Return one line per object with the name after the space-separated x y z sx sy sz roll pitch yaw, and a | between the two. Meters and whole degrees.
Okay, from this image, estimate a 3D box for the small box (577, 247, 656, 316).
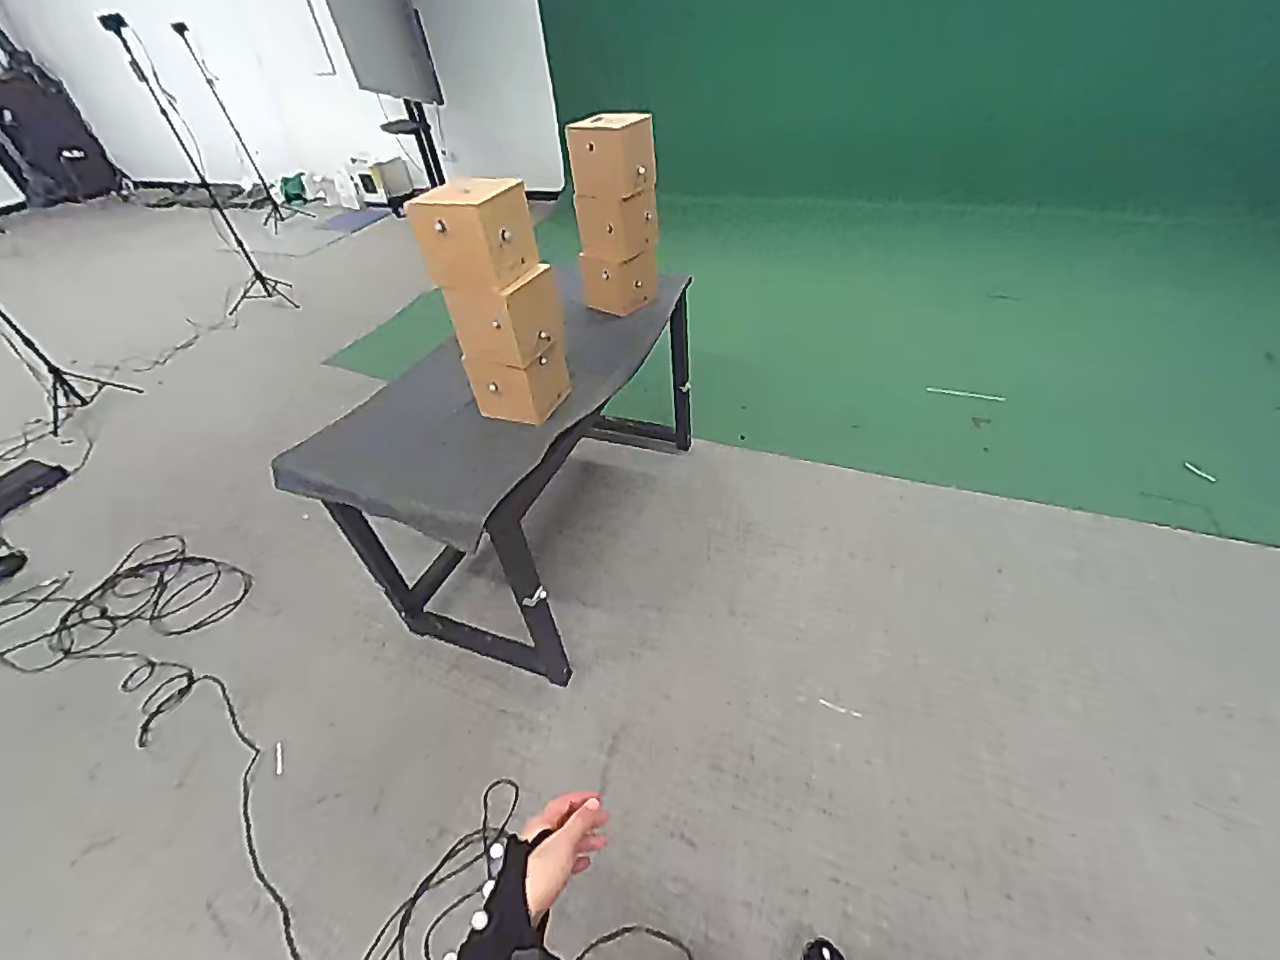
-0.067 -0.633 1.693 0.179 0.176 0.168 28 53 35 | small box

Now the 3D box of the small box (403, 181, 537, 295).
-0.334 -0.493 1.104 0.179 0.176 0.168 11 46 20 | small box

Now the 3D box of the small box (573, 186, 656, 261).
-0.067 -0.762 1.593 0.179 0.176 0.168 23 50 32 | small box

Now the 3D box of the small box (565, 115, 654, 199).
-0.077 -0.886 1.486 0.179 0.176 0.168 19 48 26 | small box

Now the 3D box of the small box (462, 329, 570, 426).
-0.293 -0.248 1.318 0.179 0.176 0.168 11 46 21 | small box
